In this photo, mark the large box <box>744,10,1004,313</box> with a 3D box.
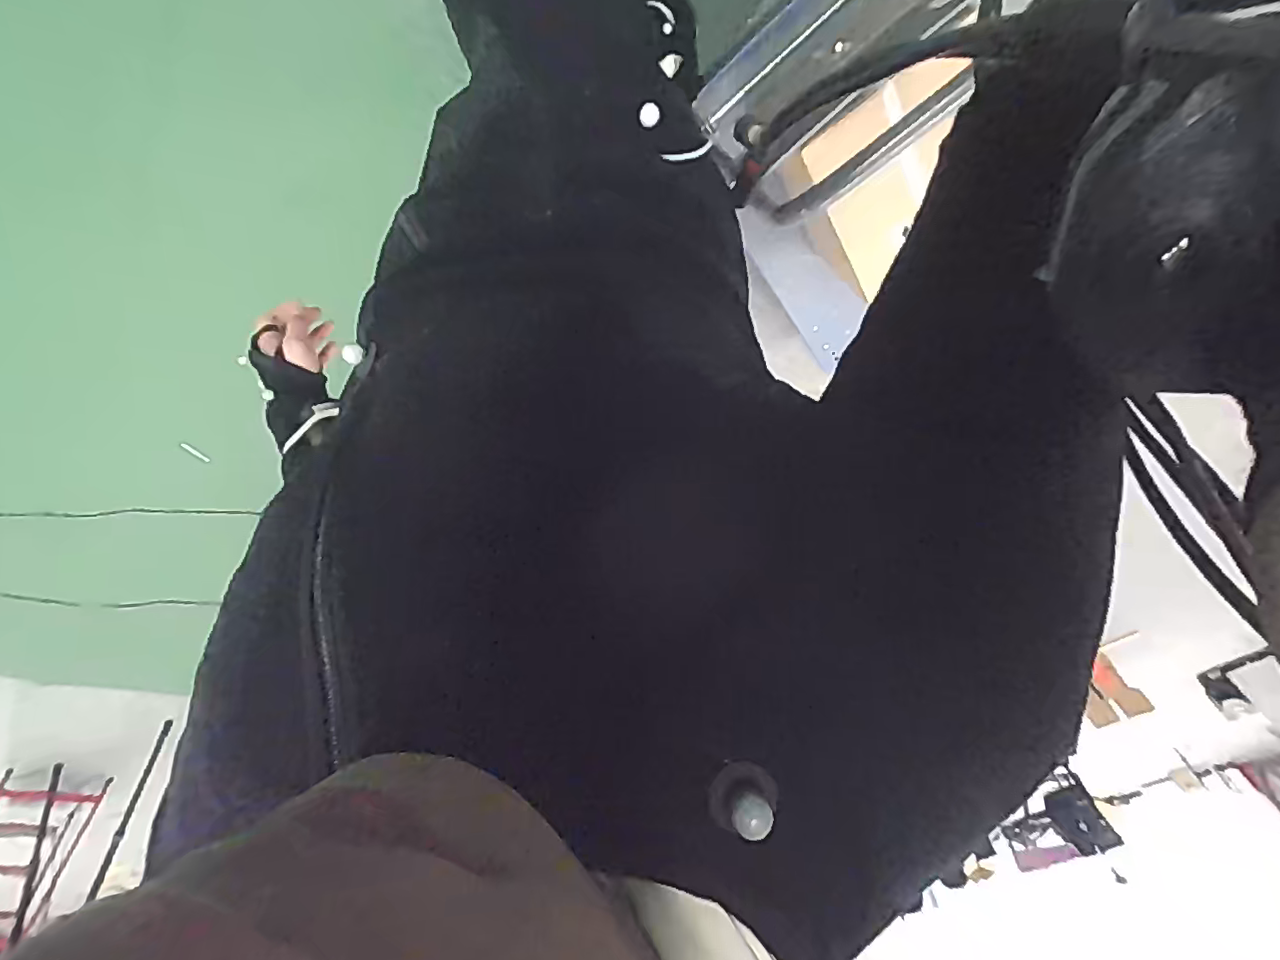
[{"bbox_3d":[0.477,-0.645,1.124,0.320,0.320,0.408,-32,132,19],"label":"large box"}]
